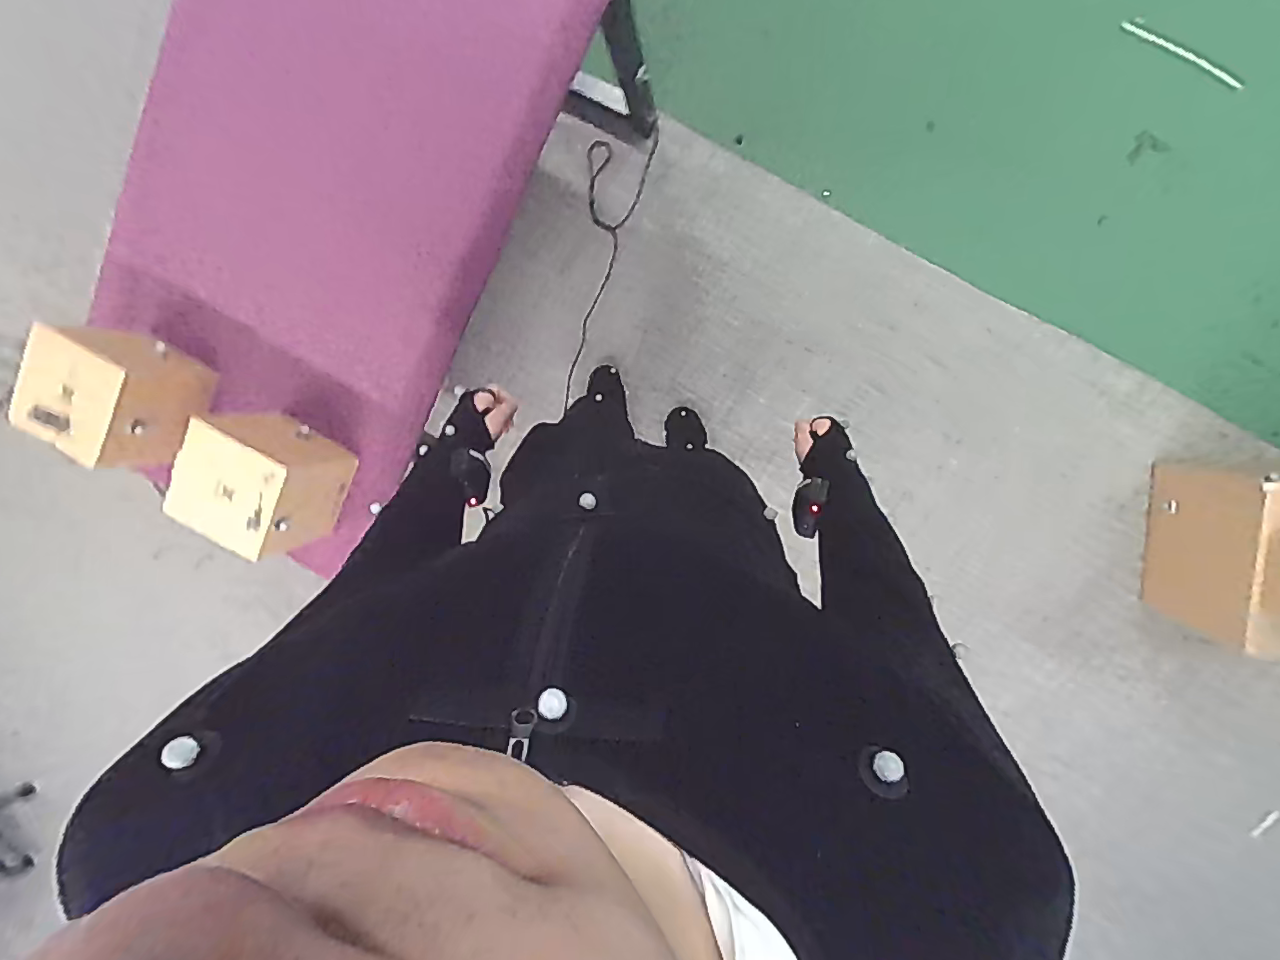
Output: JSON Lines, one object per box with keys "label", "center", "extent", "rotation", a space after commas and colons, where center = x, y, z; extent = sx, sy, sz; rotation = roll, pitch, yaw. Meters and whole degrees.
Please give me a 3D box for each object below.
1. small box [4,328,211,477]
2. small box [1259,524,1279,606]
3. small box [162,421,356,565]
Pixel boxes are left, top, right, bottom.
{"label": "small box", "center": [-0.873, -0.129, 0.903], "extent": [0.168, 0.176, 0.179], "rotation": [29, 101, 1]}
{"label": "small box", "center": [1.423, 0.193, 1.087], "extent": [0.168, 0.176, 0.179], "rotation": [-2, 99, 8]}
{"label": "small box", "center": [-0.619, 0.011, 0.894], "extent": [0.179, 0.176, 0.168], "rotation": [27, 103, 4]}
